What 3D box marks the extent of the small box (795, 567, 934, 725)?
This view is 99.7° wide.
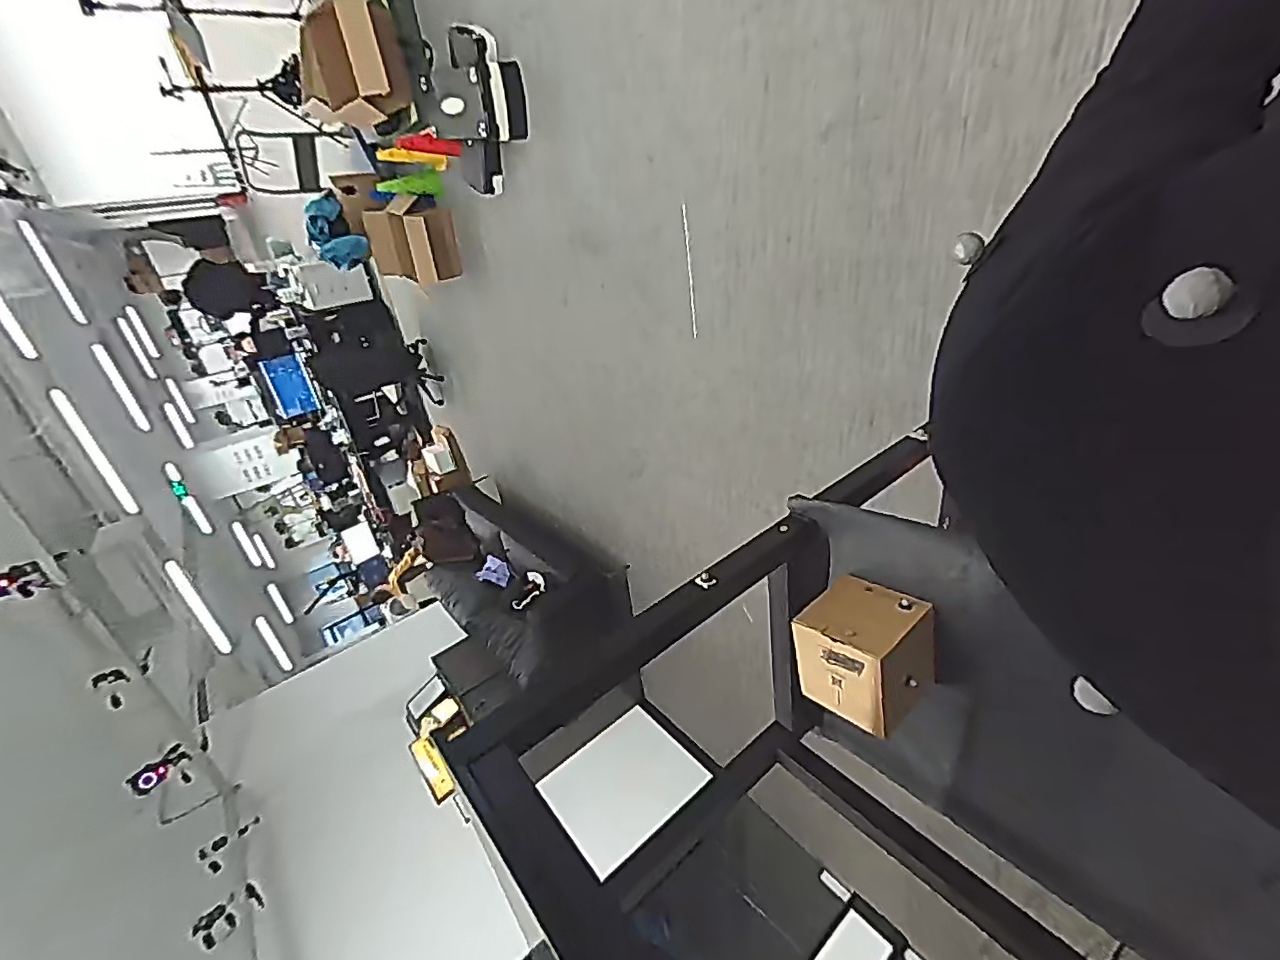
[{"bbox_3d":[0.401,0.281,0.962,0.168,0.176,0.179,18,128,50],"label":"small box"}]
